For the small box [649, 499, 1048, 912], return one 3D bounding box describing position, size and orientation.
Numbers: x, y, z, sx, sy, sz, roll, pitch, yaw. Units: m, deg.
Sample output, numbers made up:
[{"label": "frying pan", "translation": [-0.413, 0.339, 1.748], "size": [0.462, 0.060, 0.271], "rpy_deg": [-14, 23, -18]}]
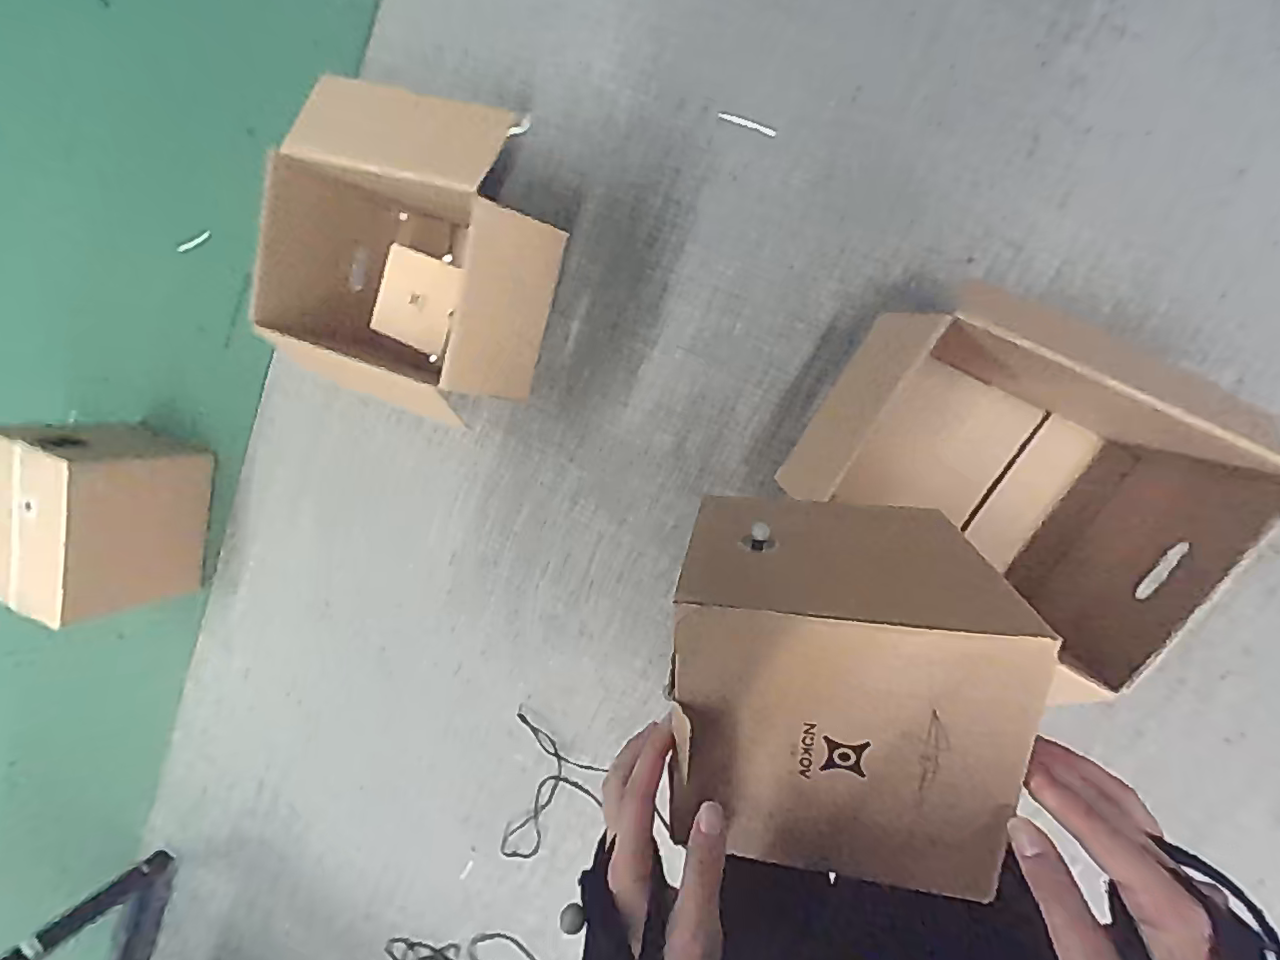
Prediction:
[{"label": "small box", "translation": [0.107, 0.117, 0.346], "size": [0.179, 0.176, 0.168], "rpy_deg": [2, 108, 11]}]
